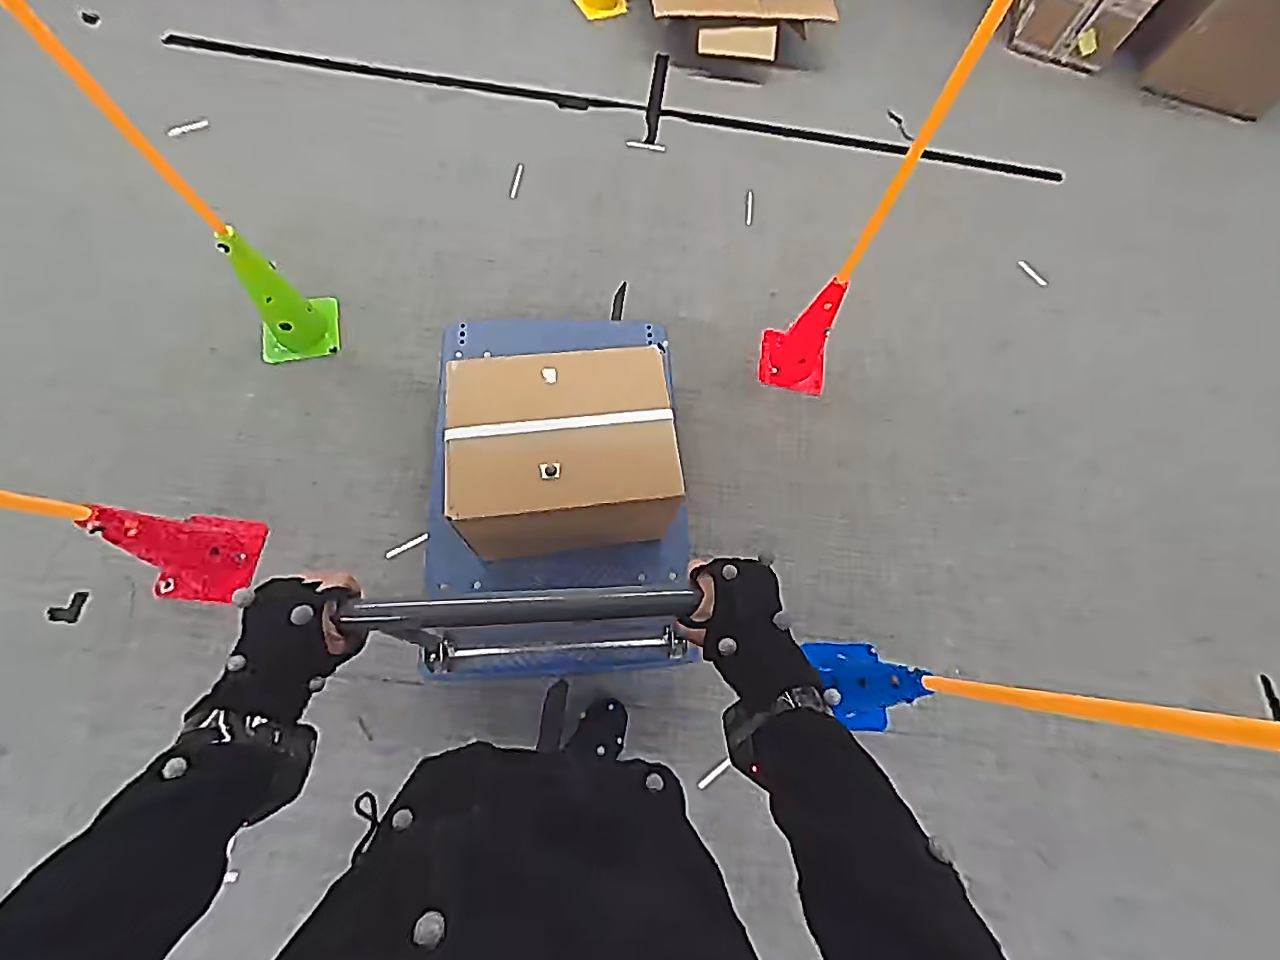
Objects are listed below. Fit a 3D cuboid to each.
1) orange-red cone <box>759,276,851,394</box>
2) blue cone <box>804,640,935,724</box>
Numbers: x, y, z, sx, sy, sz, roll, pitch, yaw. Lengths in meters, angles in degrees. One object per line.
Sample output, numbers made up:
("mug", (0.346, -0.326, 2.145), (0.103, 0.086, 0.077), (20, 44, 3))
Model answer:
("orange-red cone", (0.487, -0.424, 1.488), (0.199, 0.360, 0.198), (14, 69, -1))
("blue cone", (0.516, 0.429, 1.171), (0.193, 0.380, 0.192), (4, 67, -4))
